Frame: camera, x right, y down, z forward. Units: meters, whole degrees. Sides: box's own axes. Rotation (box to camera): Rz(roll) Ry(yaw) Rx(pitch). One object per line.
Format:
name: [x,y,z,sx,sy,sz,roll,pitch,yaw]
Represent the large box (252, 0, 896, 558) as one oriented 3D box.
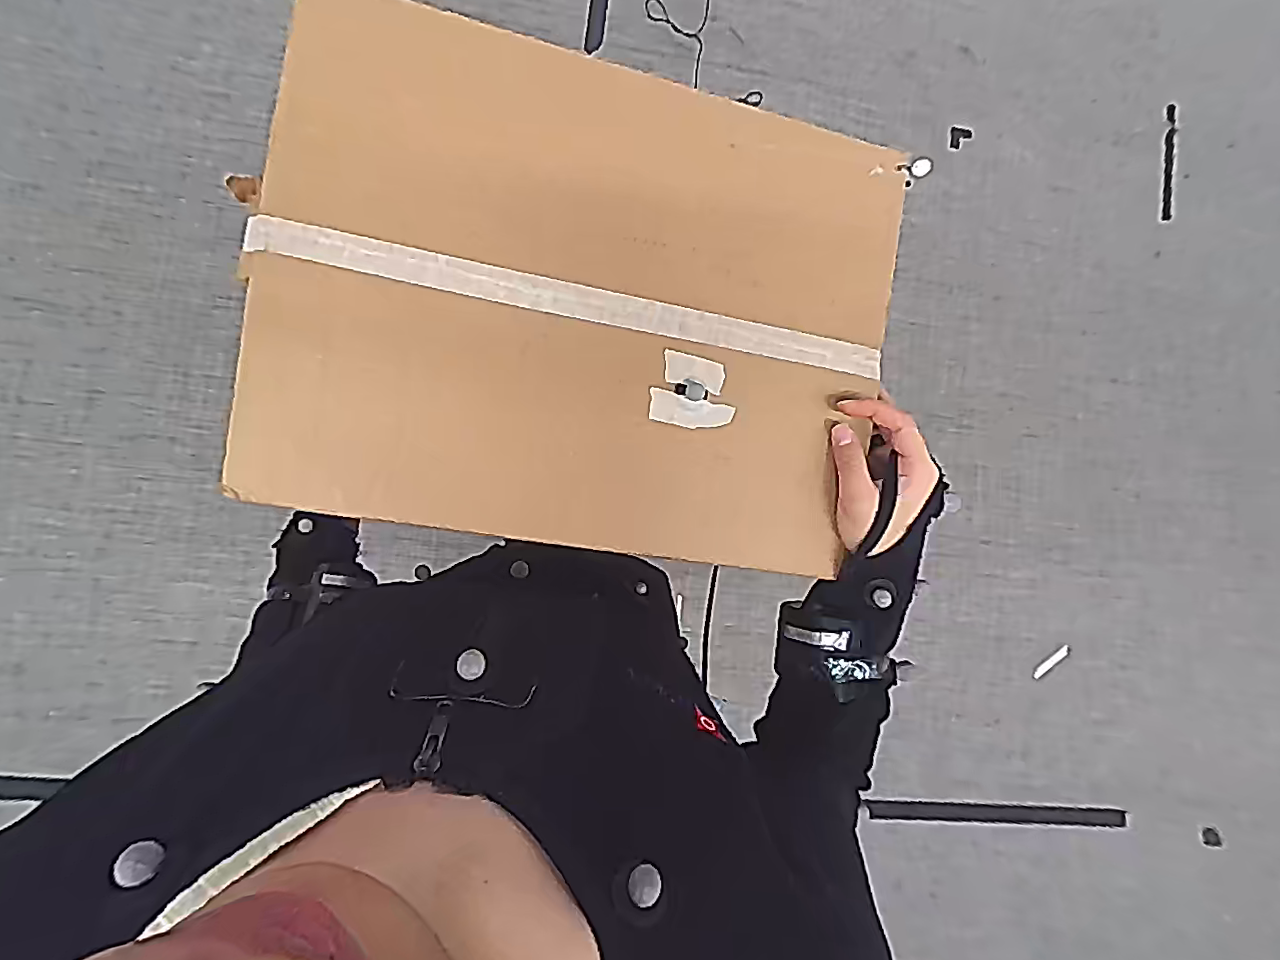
large box: [-0.052,-0.122,0.506,0.408,0.320,0.320,9,91,-12]
